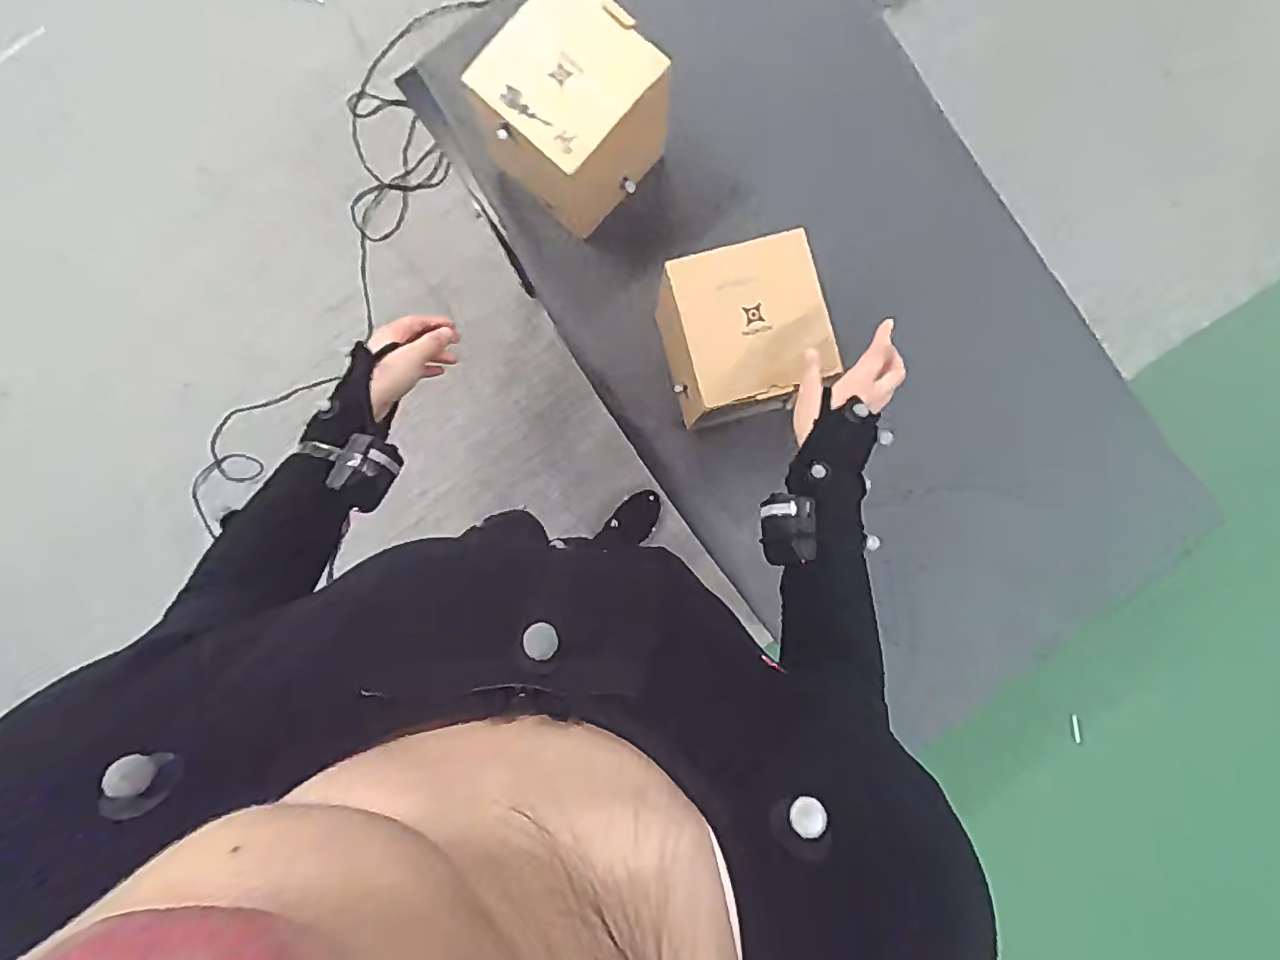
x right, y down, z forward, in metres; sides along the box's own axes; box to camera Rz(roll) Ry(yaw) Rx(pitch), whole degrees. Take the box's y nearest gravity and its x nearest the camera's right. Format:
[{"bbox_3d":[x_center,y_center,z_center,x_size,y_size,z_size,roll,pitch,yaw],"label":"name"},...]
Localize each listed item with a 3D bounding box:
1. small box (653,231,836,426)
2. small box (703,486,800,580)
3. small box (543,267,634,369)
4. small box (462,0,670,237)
[{"bbox_3d":[0.118,-0.173,0.681,0.168,0.176,0.179,-15,87,-3],"label":"small box"},{"bbox_3d":[0.279,0.133,1.404,0.179,0.176,0.168,-40,90,-2],"label":"small box"},{"bbox_3d":[-0.128,-0.412,1.411,0.179,0.176,0.168,-31,89,-2],"label":"small box"},{"bbox_3d":[-0.085,-0.453,0.681,0.168,0.176,0.179,42,89,0],"label":"small box"}]
